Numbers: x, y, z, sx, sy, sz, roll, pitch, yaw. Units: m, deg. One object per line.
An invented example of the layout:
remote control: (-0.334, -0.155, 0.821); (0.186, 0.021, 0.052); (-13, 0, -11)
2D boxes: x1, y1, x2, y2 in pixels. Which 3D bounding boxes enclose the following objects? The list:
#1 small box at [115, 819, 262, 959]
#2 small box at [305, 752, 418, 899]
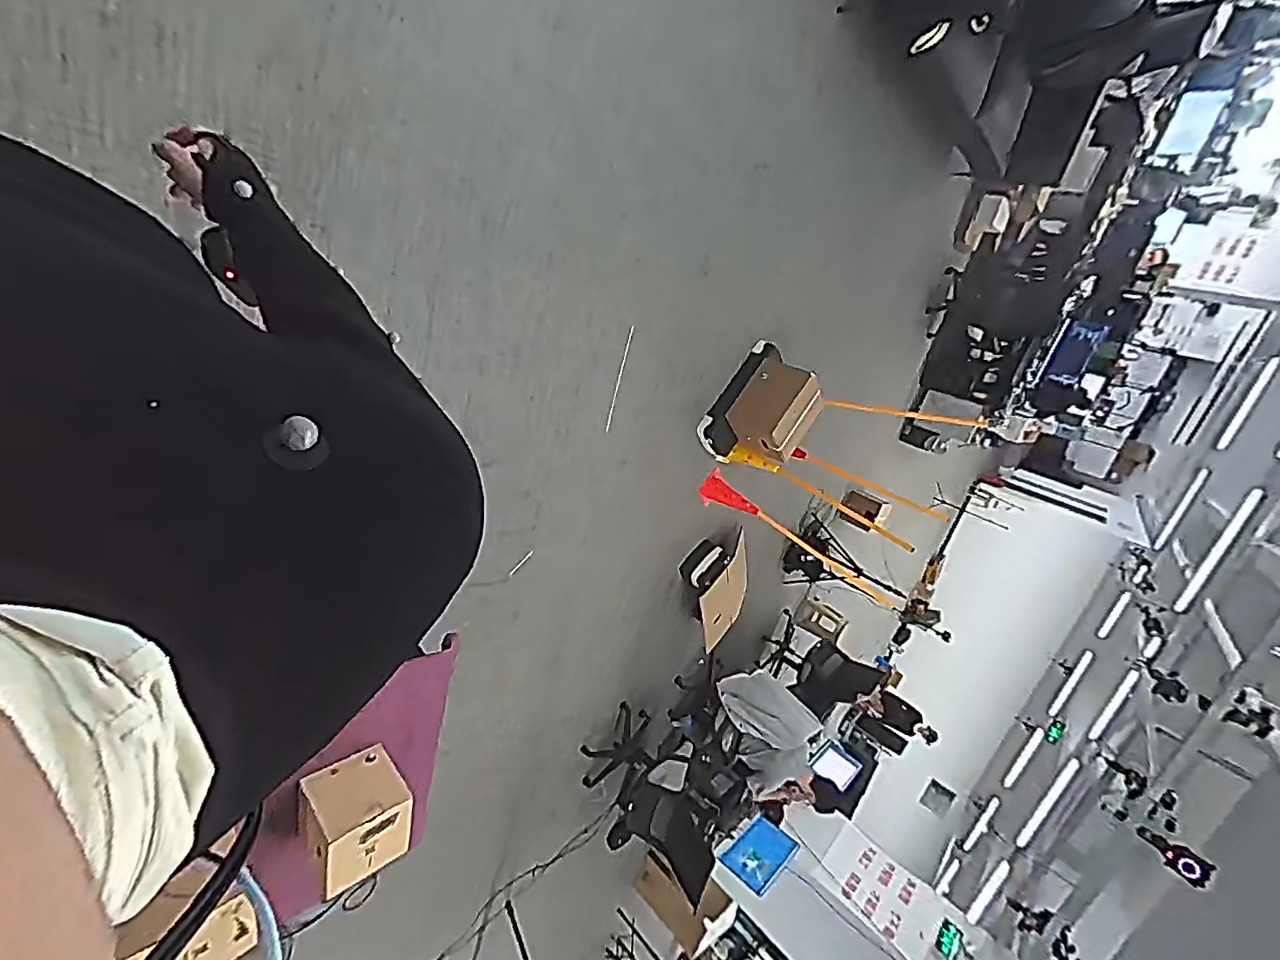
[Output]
small box: (-0.788, 0.752, 0.946); (0.179, 0.176, 0.168); (-10, 121, -46)
small box: (-0.596, 0.715, 1.150); (0.168, 0.176, 0.179); (-10, 122, -46)
